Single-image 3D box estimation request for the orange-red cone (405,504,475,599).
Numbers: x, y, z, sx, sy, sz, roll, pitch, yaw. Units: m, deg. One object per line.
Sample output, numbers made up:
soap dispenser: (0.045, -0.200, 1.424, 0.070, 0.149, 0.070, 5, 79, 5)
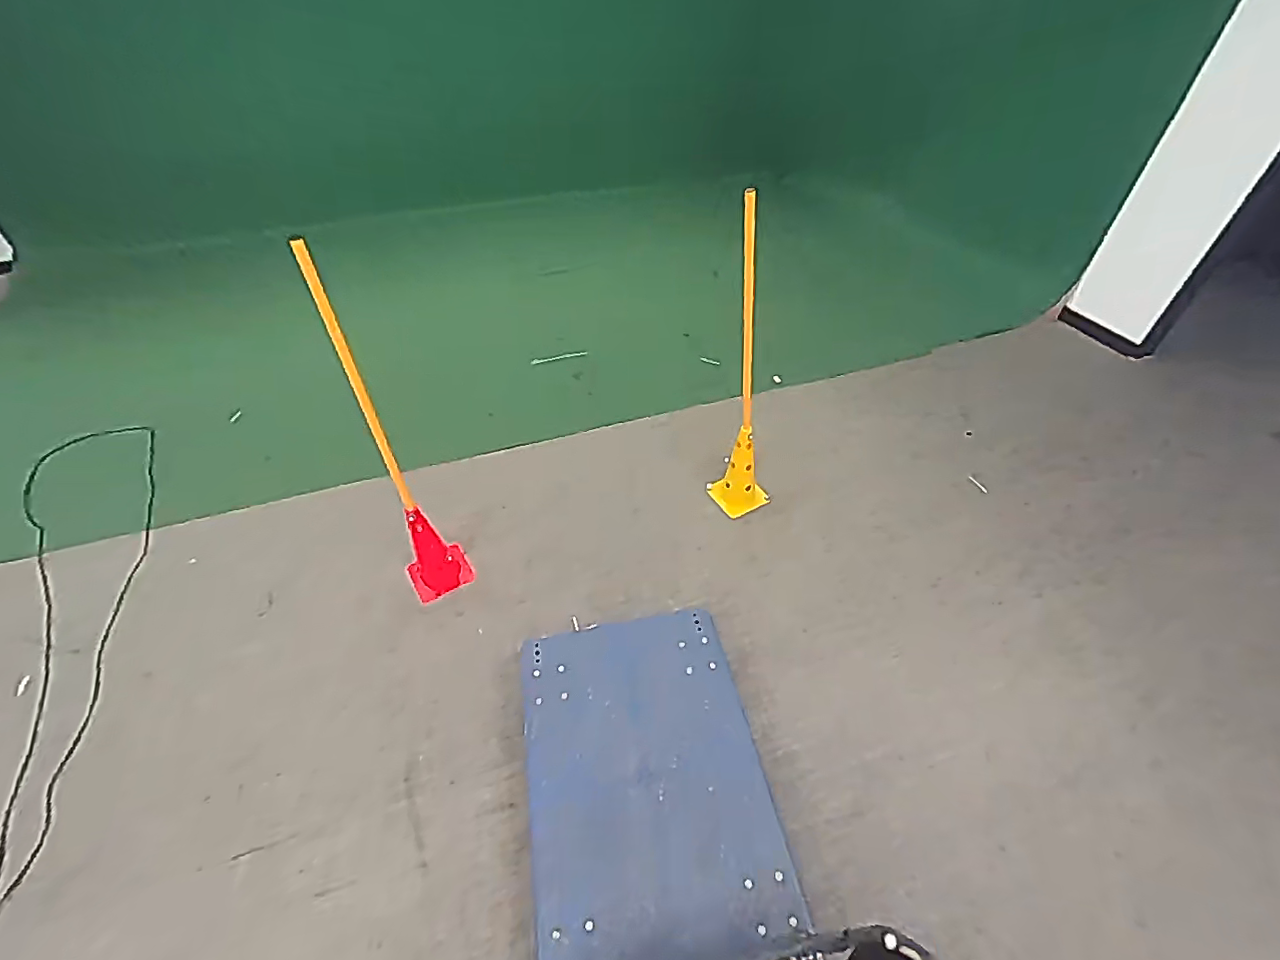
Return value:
orange-red cone: (-0.729, 0.213, 1.855, 0.199, 0.360, 0.198, -26, 50, -20)
